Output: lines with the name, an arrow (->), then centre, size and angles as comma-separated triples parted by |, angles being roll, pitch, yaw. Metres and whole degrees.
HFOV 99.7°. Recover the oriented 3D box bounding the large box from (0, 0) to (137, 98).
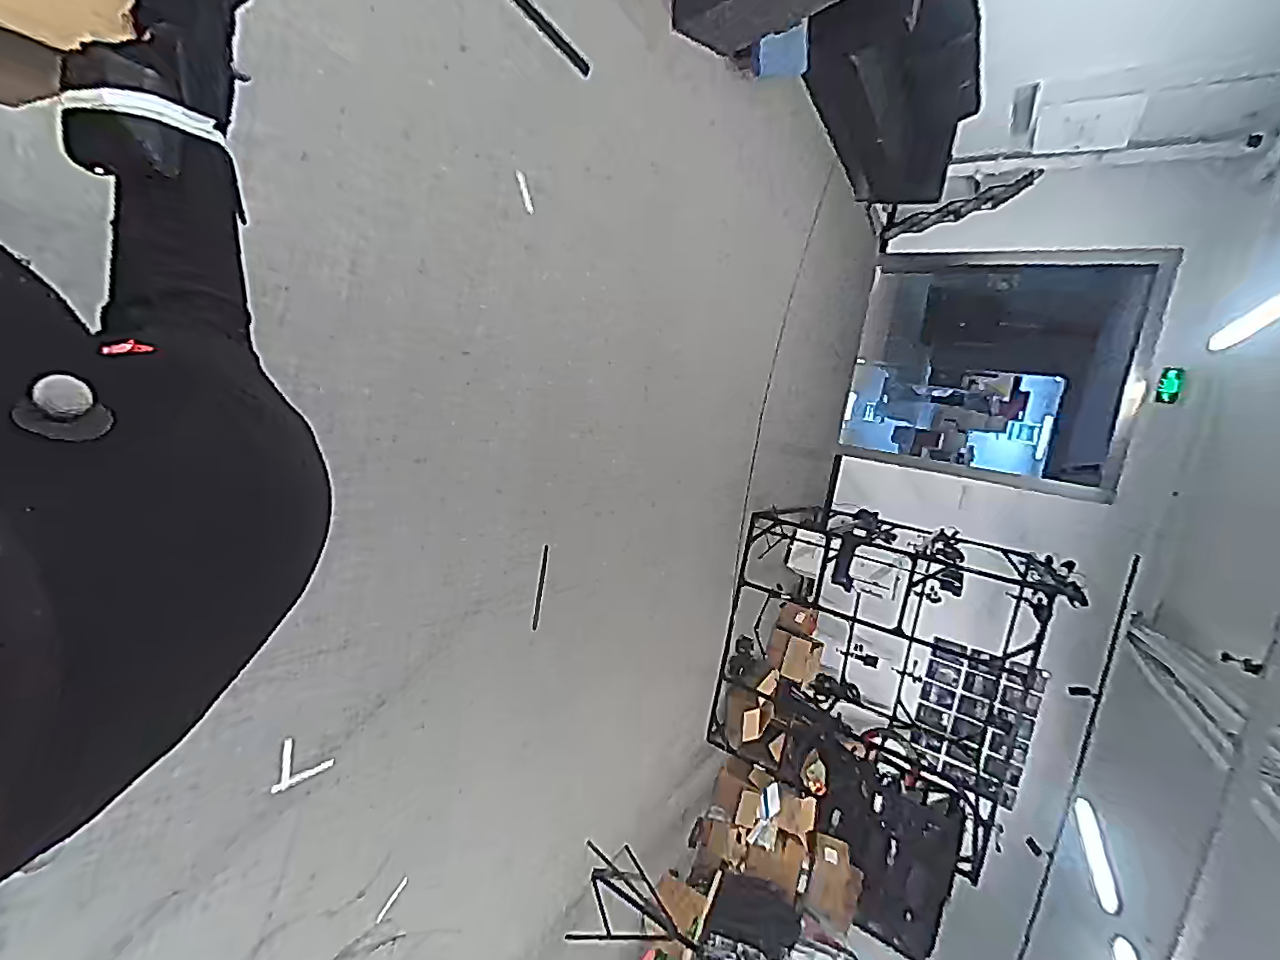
large box -> -0.543, -0.438, 0.234 | 0.408, 0.320, 0.320 | -10, 116, -58
